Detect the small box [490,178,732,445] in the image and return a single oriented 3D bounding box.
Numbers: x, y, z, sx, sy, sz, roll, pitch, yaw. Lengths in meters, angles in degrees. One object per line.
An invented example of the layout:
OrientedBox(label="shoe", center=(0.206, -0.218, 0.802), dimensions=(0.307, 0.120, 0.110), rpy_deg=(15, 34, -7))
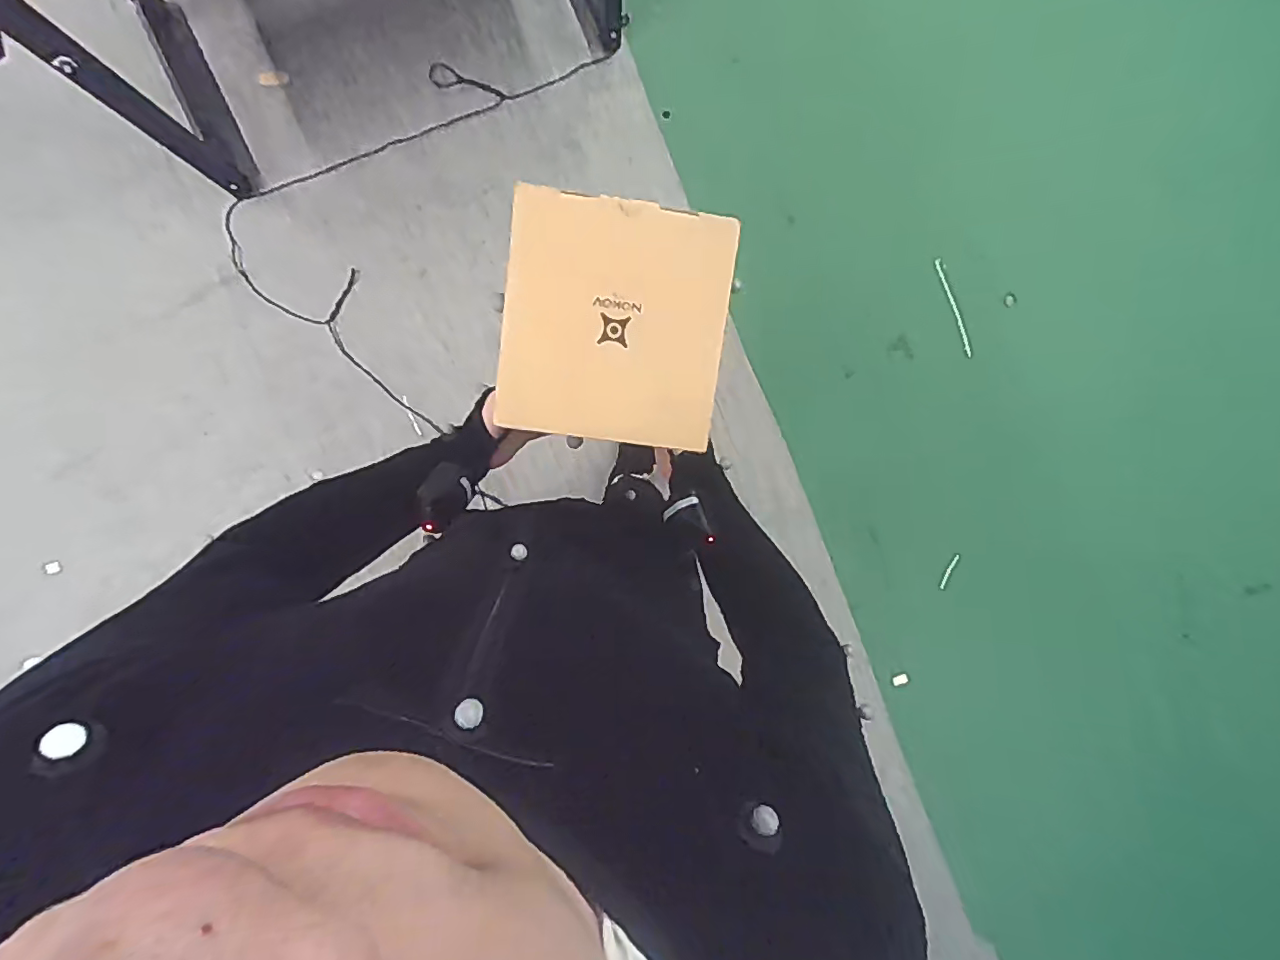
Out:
OrientedBox(label="small box", center=(-0.027, -0.133, 0.481), dimensions=(0.168, 0.176, 0.179), rpy_deg=(6, 97, -5))
